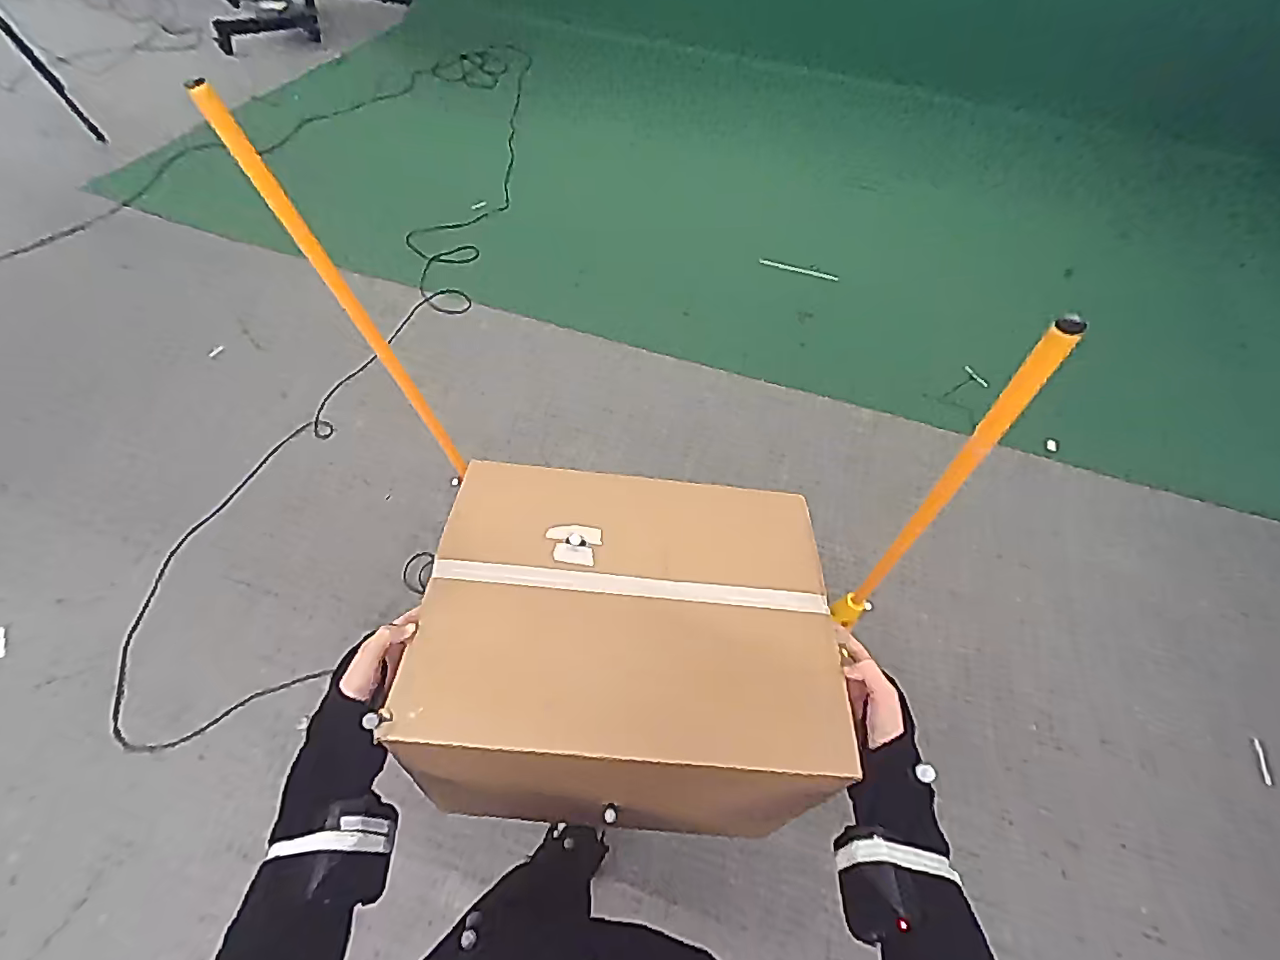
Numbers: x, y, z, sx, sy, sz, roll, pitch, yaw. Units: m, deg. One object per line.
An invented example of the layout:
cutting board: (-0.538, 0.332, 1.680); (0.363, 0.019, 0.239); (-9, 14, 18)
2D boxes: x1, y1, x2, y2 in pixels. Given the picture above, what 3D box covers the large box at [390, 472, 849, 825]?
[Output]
large box: (-0.019, 0.218, 0.671); (0.408, 0.320, 0.320); (6, 48, -2)
